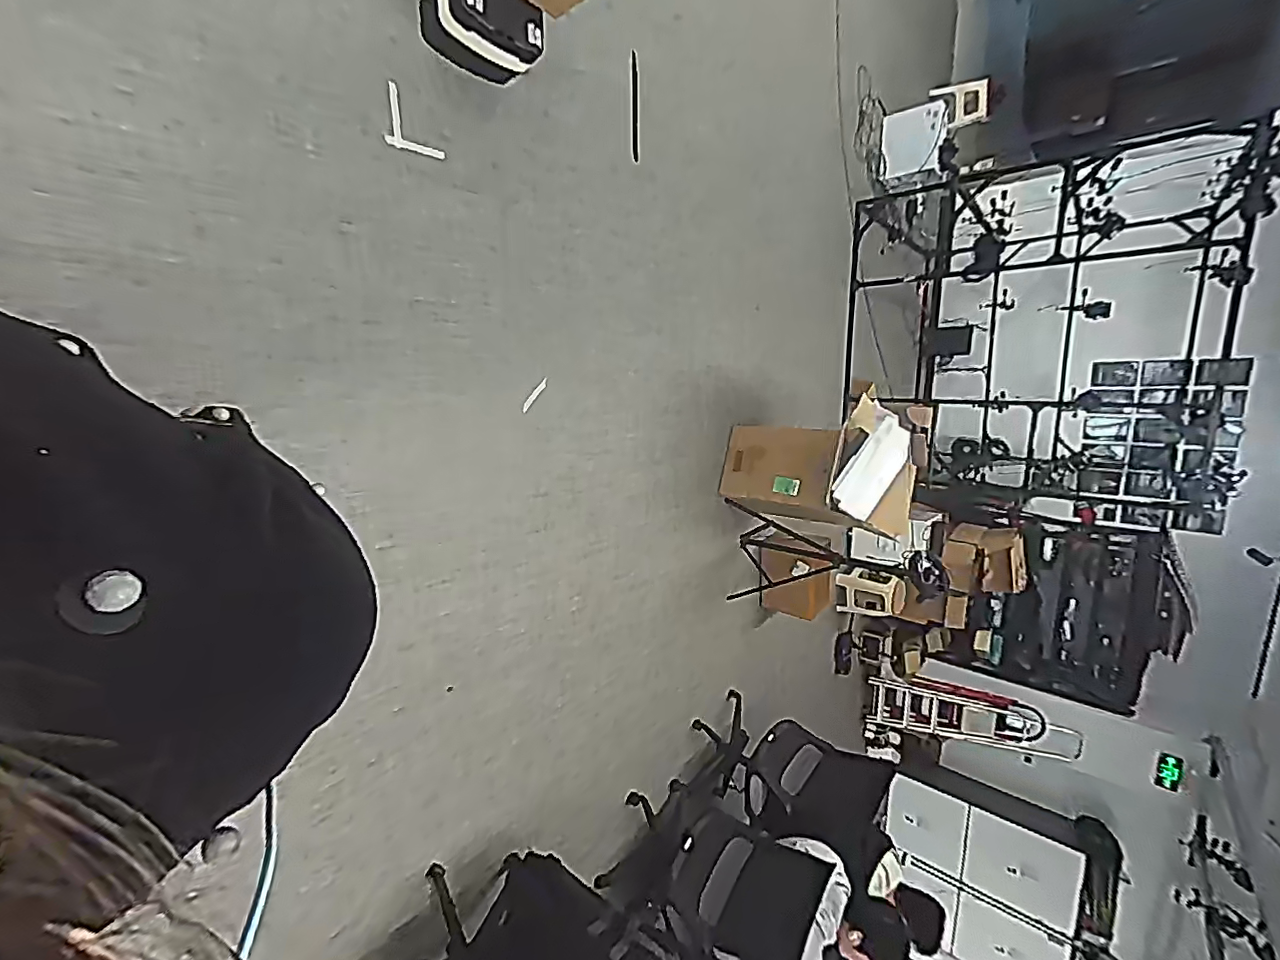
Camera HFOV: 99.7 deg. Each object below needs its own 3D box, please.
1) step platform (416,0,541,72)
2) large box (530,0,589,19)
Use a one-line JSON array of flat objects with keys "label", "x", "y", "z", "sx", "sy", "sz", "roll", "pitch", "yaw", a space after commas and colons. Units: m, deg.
[{"label": "step platform", "x": -0.421, "y": -1.552, "z": 1.472, "sx": 0.286, "sy": 0.204, "sz": 0.684, "roll": -2, "pitch": 97, "yaw": -49}, {"label": "large box", "x": -0.225, "y": -1.502, "z": 1.342, "sx": 0.320, "sy": 0.320, "sz": 0.408, "roll": -10, "pitch": 102, "yaw": -49}]
